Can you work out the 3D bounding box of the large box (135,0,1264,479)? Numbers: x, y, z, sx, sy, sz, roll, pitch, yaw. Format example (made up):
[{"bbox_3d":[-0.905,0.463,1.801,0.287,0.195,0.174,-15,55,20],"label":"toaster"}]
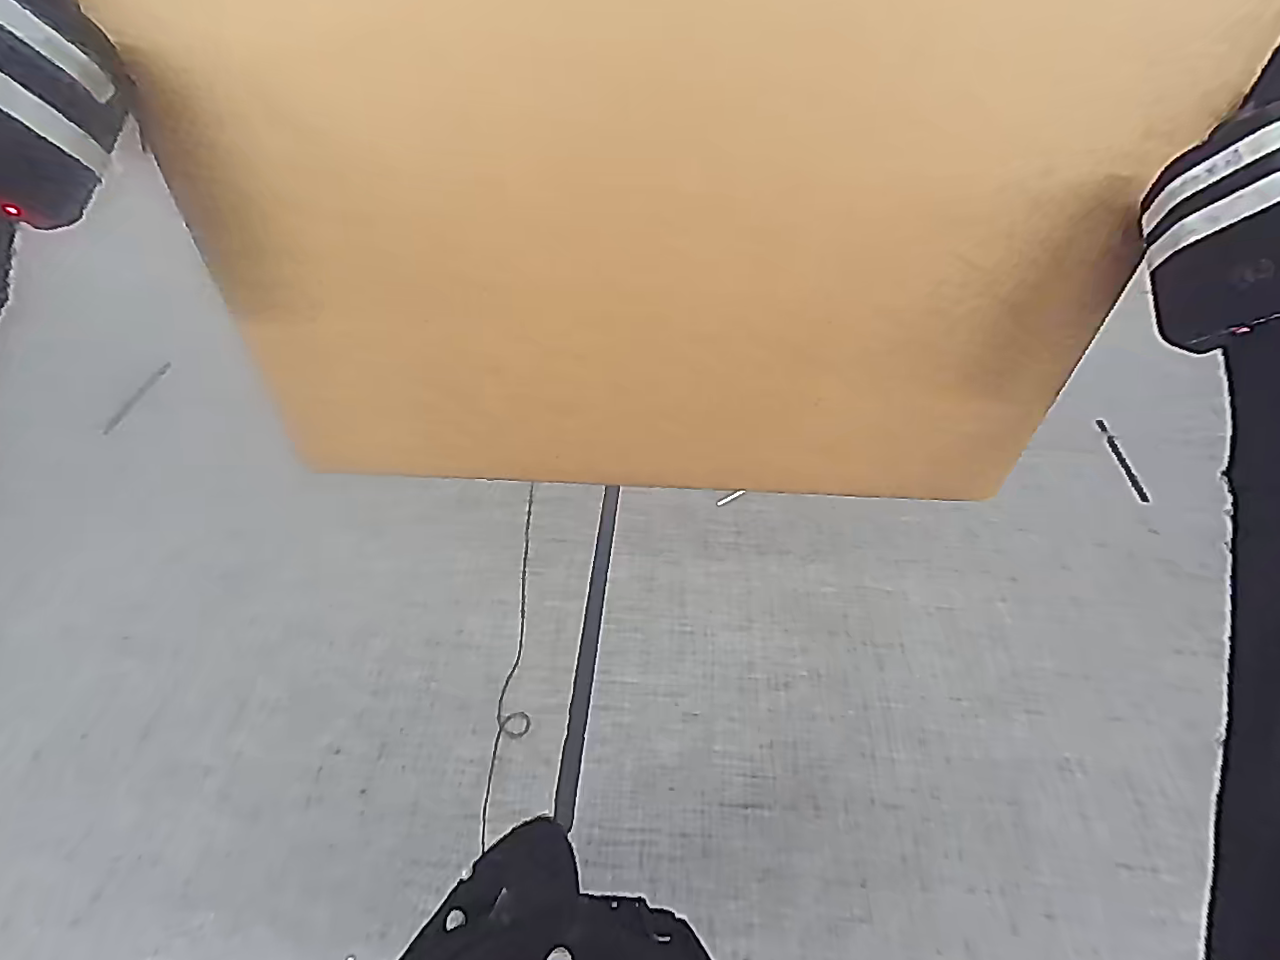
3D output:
[{"bbox_3d":[0.017,-0.216,0.337,0.408,0.320,0.320,3,41,-1],"label":"large box"}]
